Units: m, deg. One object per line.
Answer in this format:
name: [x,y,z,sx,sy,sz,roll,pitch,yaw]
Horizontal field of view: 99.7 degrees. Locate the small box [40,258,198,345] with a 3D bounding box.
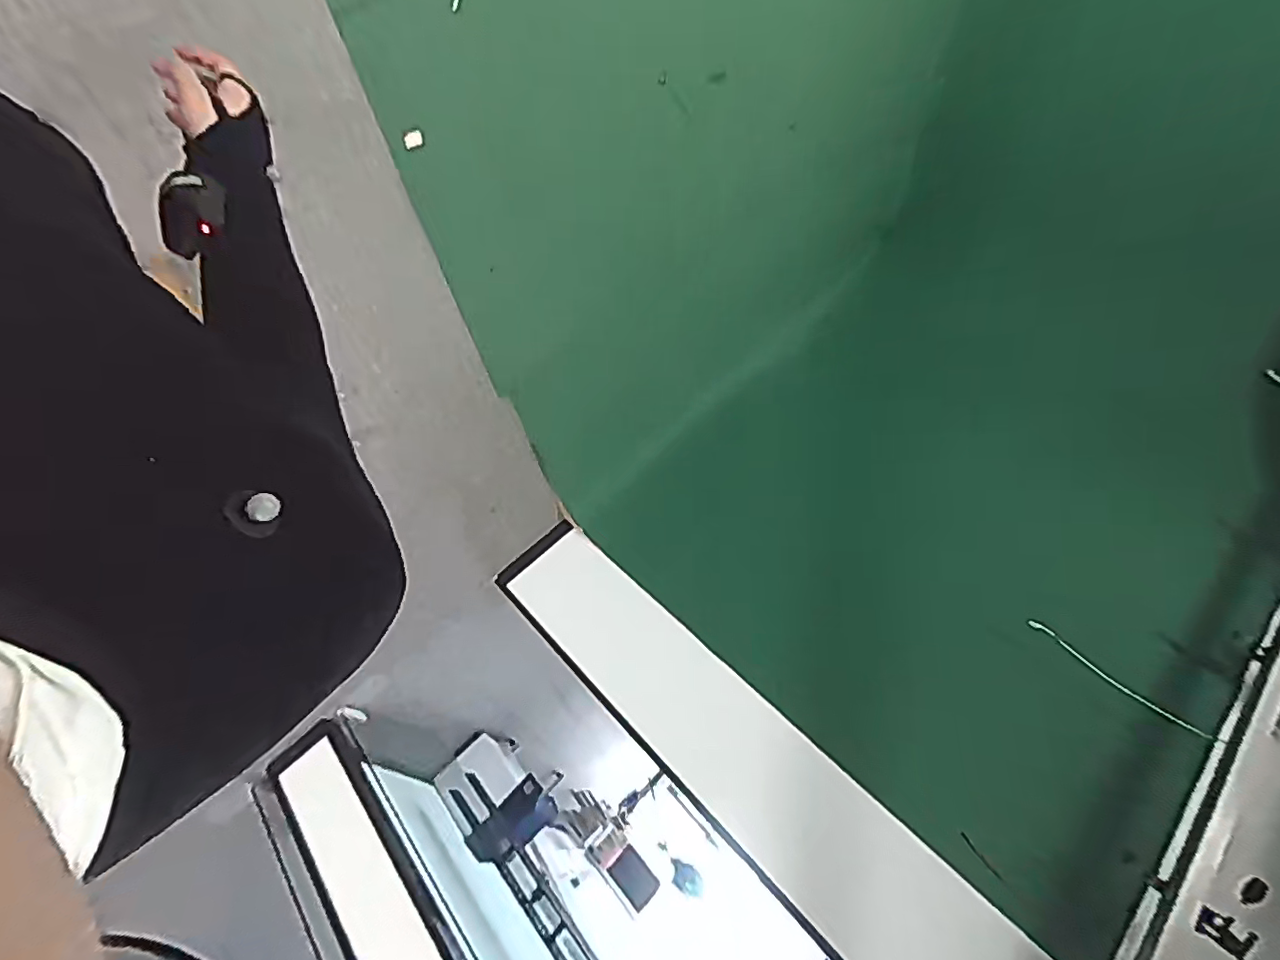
small box: [-1.110,-0.352,1.155,0.168,0.176,0.179,-38,148,-23]
